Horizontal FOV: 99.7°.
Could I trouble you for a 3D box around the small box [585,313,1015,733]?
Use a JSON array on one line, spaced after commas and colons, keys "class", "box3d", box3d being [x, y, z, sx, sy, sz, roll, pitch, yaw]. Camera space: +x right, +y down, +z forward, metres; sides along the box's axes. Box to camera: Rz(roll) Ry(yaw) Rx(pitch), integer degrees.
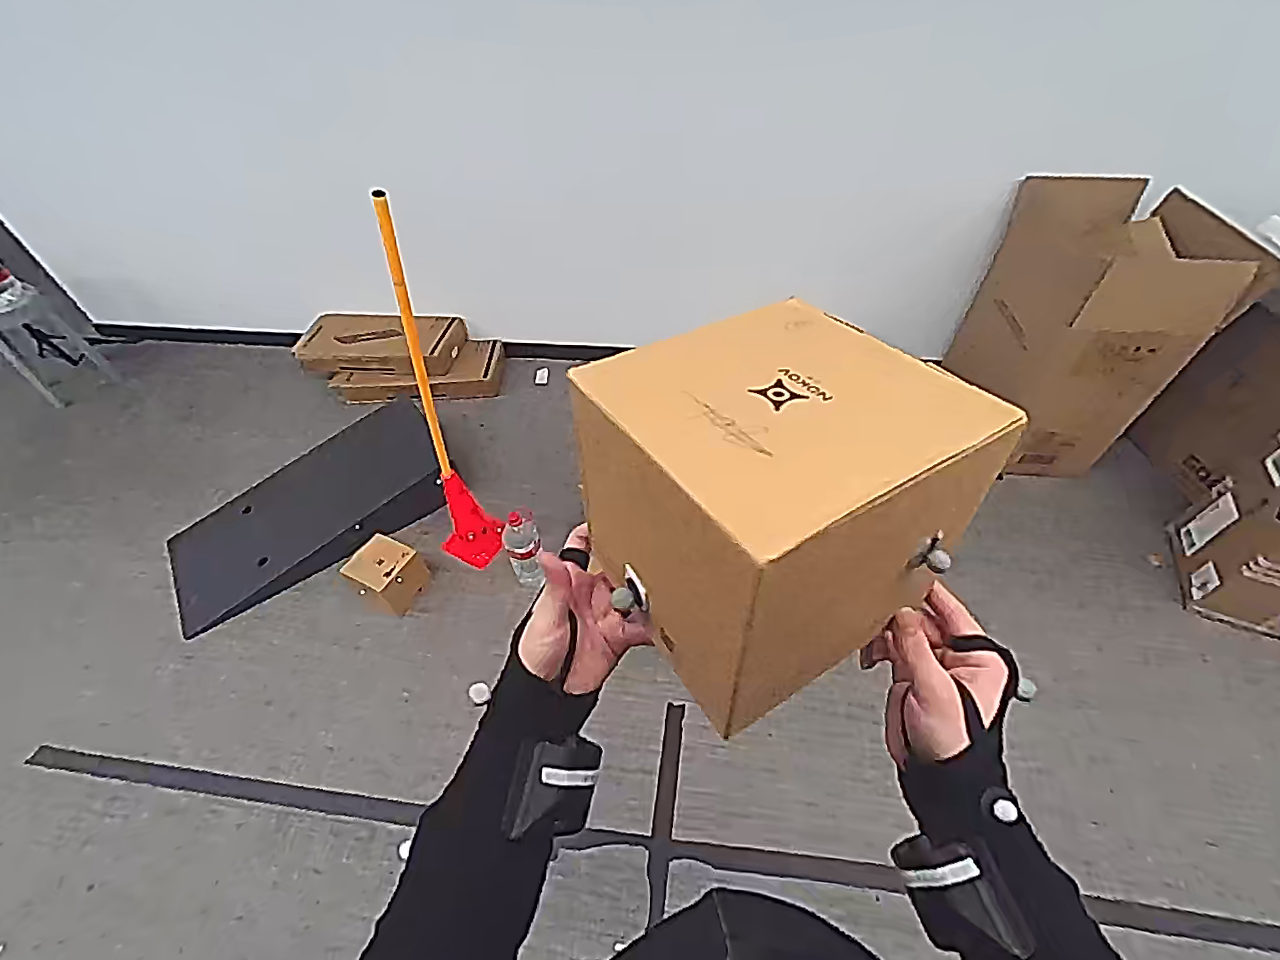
[{"class": "small box", "box3d": [0.082, 0.020, 0.350, 0.179, 0.176, 0.168, -25, 47, -23]}]
